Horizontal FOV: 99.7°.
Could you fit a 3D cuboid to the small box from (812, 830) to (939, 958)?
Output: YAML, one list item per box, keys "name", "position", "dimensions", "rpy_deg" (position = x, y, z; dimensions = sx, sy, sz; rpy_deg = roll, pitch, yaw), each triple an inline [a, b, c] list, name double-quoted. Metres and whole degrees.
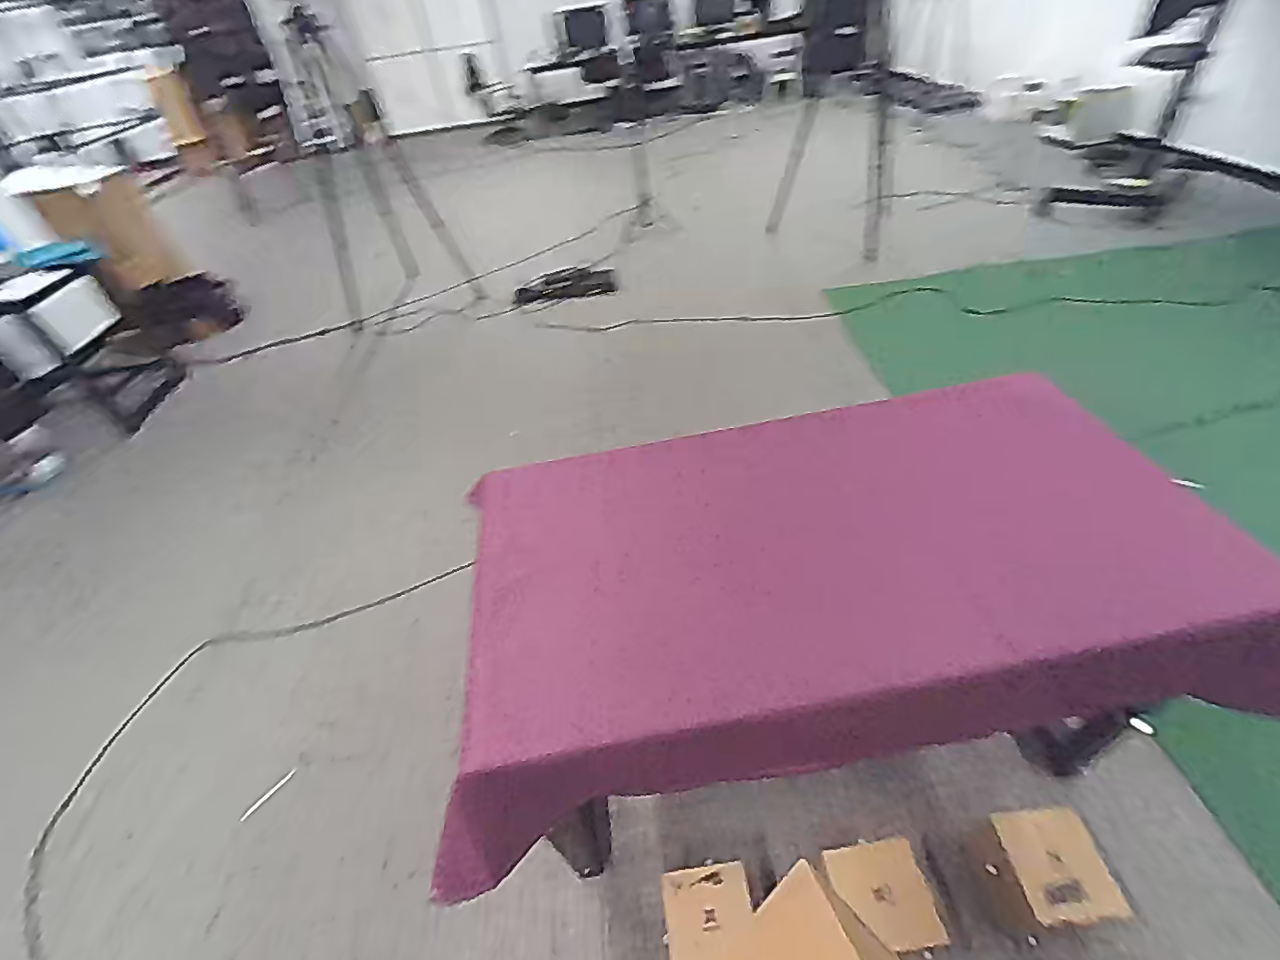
- name: "small box"
  position: [0.455, 0.830, 1.081]
  dimensions: [0.179, 0.176, 0.168]
  rpy_deg: [-10, 44, -1]

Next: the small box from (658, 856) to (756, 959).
- name: "small box"
  position: [0.134, 0.882, 1.082]
  dimensions: [0.168, 0.176, 0.179]
  rpy_deg: [-9, 44, 1]
